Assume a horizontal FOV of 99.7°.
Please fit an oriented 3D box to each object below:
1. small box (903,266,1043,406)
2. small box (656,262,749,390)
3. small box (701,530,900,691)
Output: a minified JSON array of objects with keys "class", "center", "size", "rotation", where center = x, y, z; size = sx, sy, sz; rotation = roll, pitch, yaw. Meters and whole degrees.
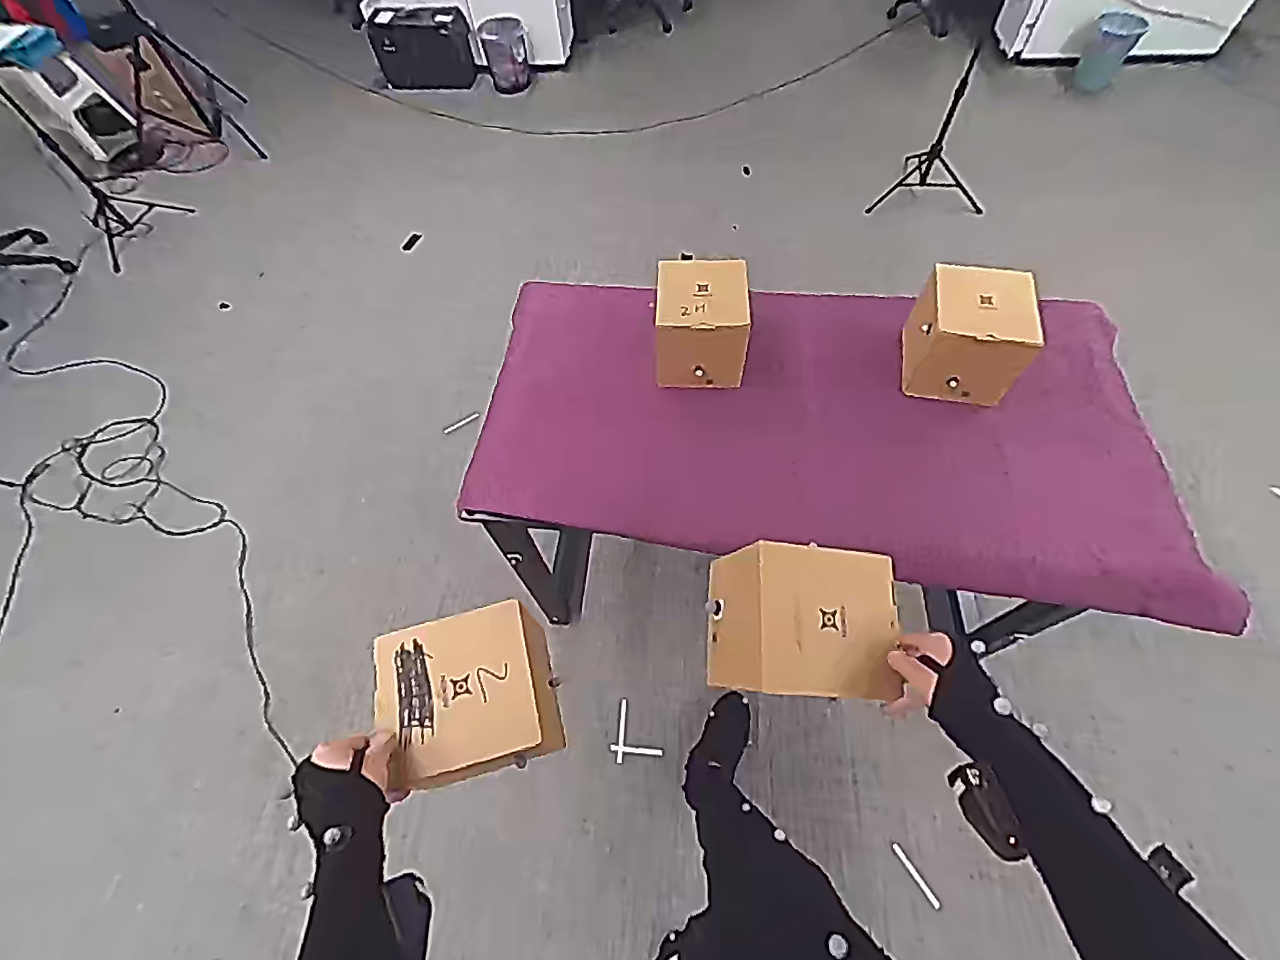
[{"class":"small box","center":[0.601,-0.265,1.003],"size":[0.168,0.176,0.179],"rotation":[9,62,9]},{"class":"small box","center":[0.117,-0.297,1.052],"size":[0.168,0.176,0.179],"rotation":[1,60,4]},{"class":"small box","center":[0.190,0.169,0.681],"size":[0.179,0.176,0.168],"rotation":[8,70,-14]}]
